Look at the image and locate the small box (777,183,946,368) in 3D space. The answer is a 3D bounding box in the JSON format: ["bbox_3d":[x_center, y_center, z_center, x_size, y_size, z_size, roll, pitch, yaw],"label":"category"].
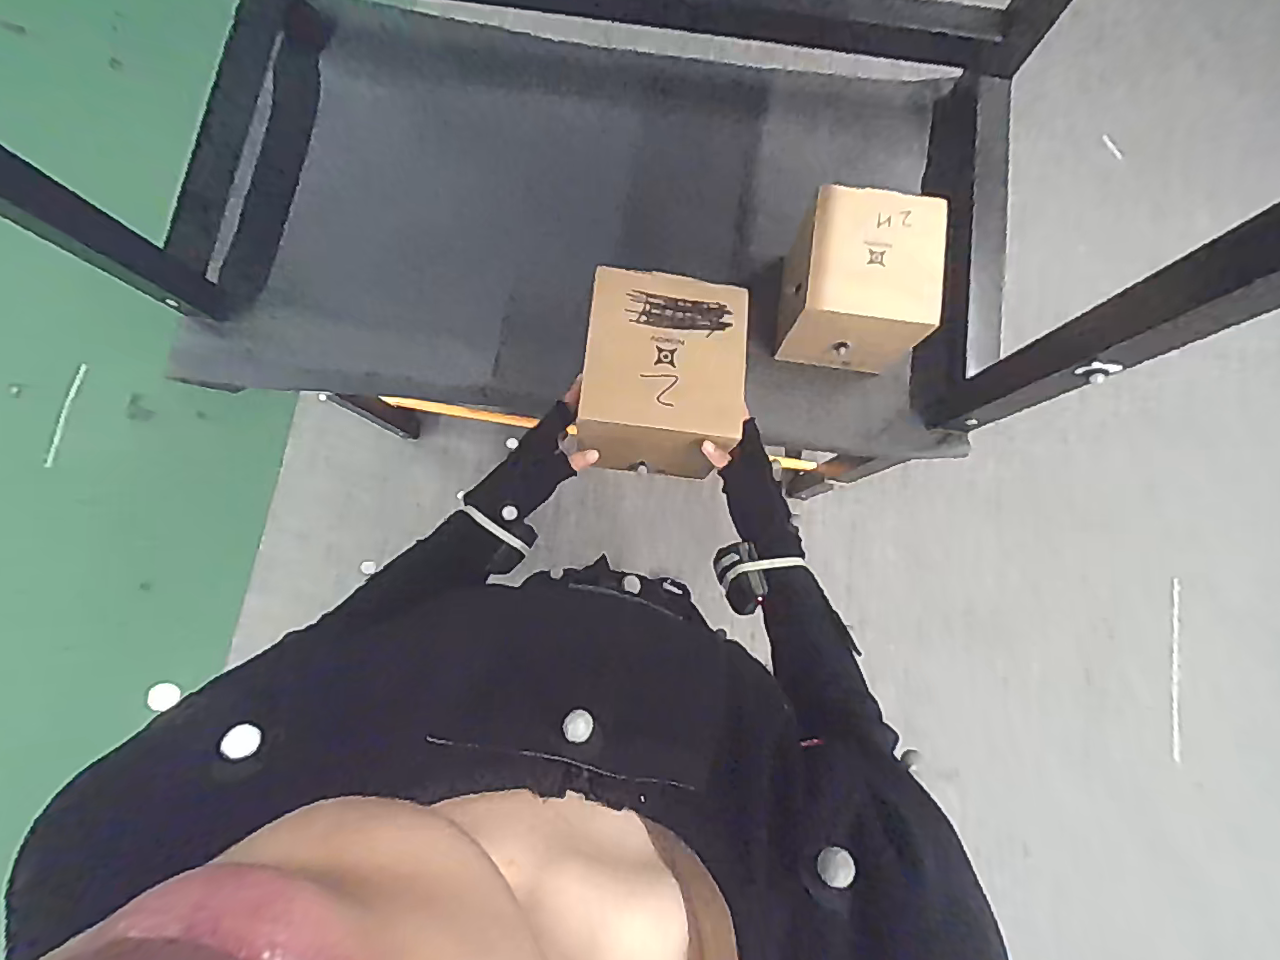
[{"bbox_3d":[0.297,-0.272,0.755,0.168,0.176,0.179,8,80,2],"label":"small box"}]
